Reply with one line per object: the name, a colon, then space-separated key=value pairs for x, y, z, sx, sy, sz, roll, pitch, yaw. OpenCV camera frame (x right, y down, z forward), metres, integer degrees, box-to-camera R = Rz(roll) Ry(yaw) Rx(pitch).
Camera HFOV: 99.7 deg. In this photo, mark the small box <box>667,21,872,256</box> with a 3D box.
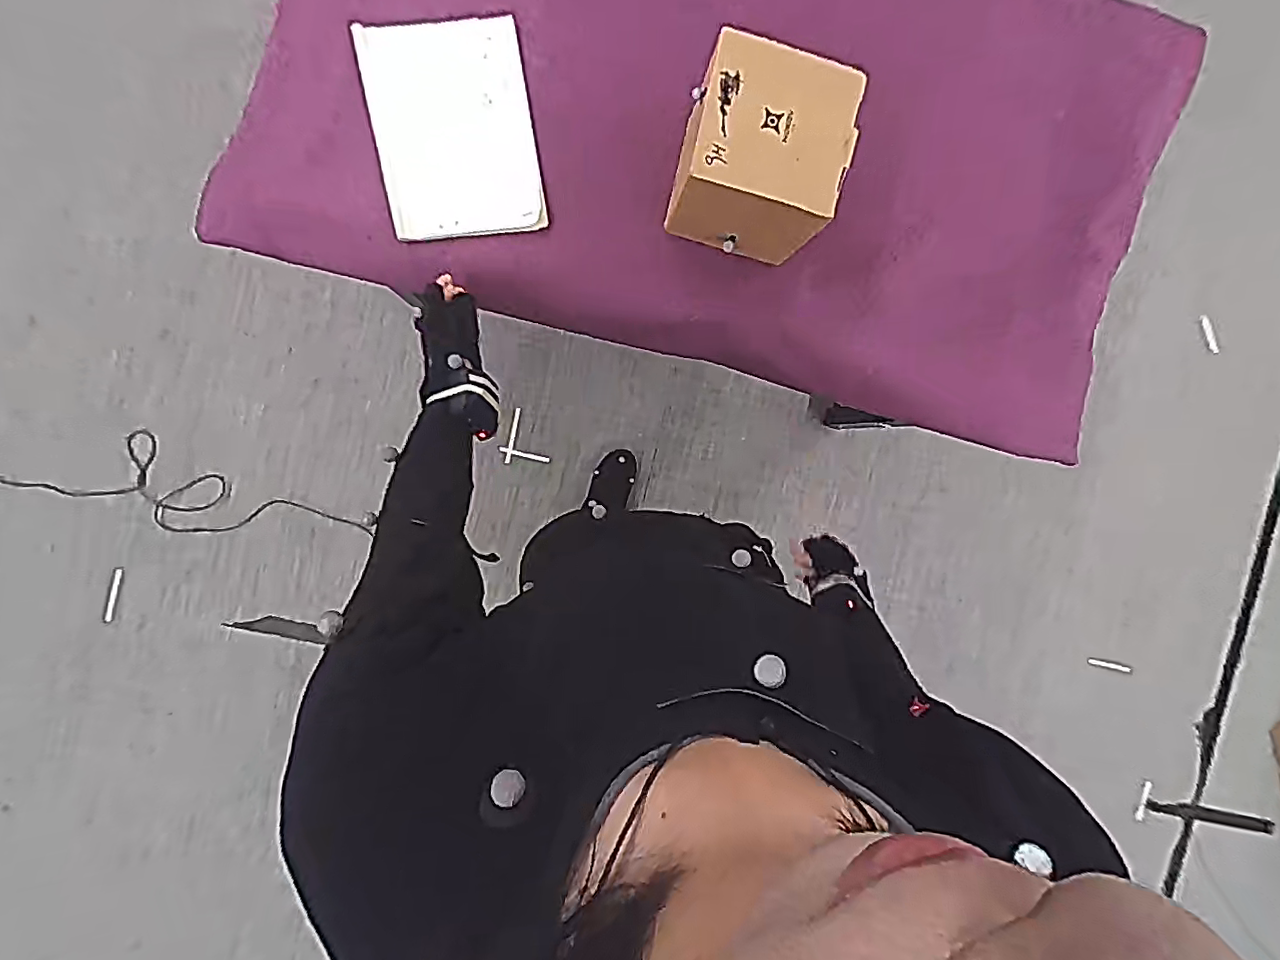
small box: x=0.147 y=-0.400 z=0.673 sx=0.179 sy=0.176 sz=0.168 roll=13 pitch=92 yaw=-8
